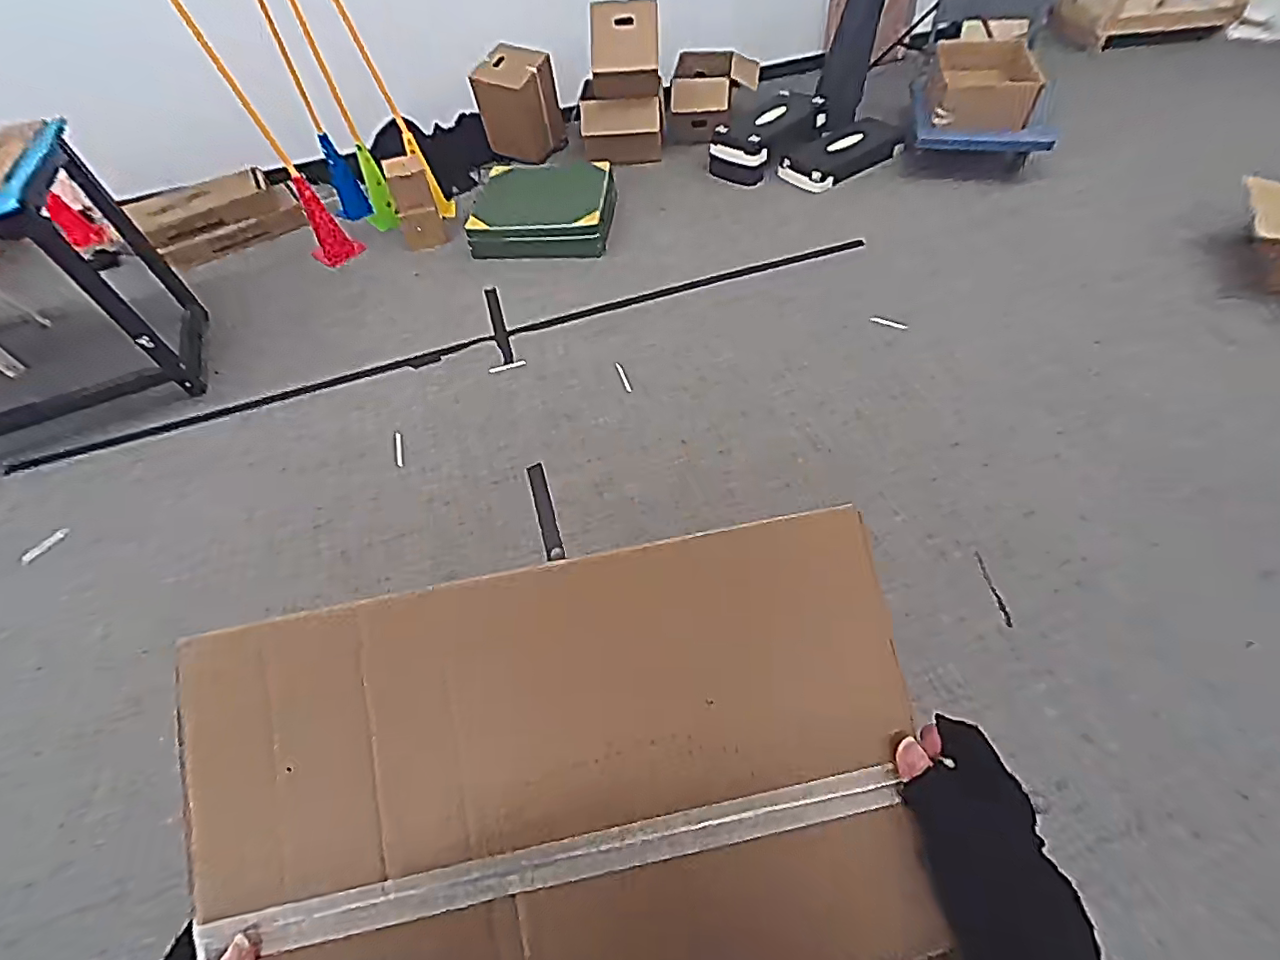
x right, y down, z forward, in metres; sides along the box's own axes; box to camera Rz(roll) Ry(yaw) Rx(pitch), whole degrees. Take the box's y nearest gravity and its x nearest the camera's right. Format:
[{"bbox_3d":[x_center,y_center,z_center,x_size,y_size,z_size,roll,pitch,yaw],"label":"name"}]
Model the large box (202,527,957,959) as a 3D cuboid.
[{"bbox_3d":[-0.036,0.236,0.456,0.408,0.320,0.320,-11,82,-3],"label":"large box"}]
